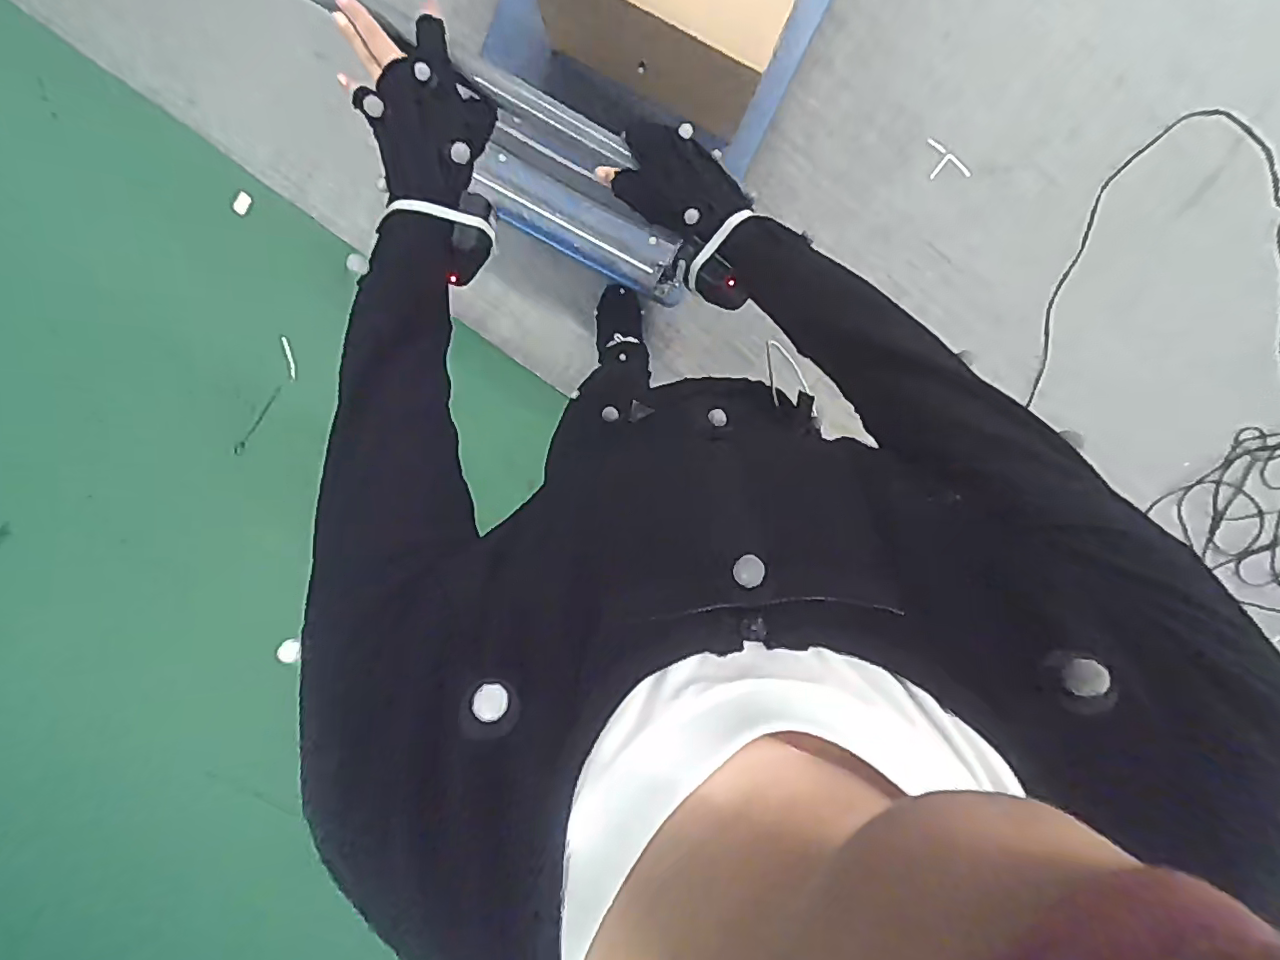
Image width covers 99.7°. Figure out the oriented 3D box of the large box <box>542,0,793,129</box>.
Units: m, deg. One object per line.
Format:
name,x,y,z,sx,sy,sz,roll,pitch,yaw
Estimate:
large box,0.070,-0.884,0.917,0.408,0.320,0.320,23,104,-5
